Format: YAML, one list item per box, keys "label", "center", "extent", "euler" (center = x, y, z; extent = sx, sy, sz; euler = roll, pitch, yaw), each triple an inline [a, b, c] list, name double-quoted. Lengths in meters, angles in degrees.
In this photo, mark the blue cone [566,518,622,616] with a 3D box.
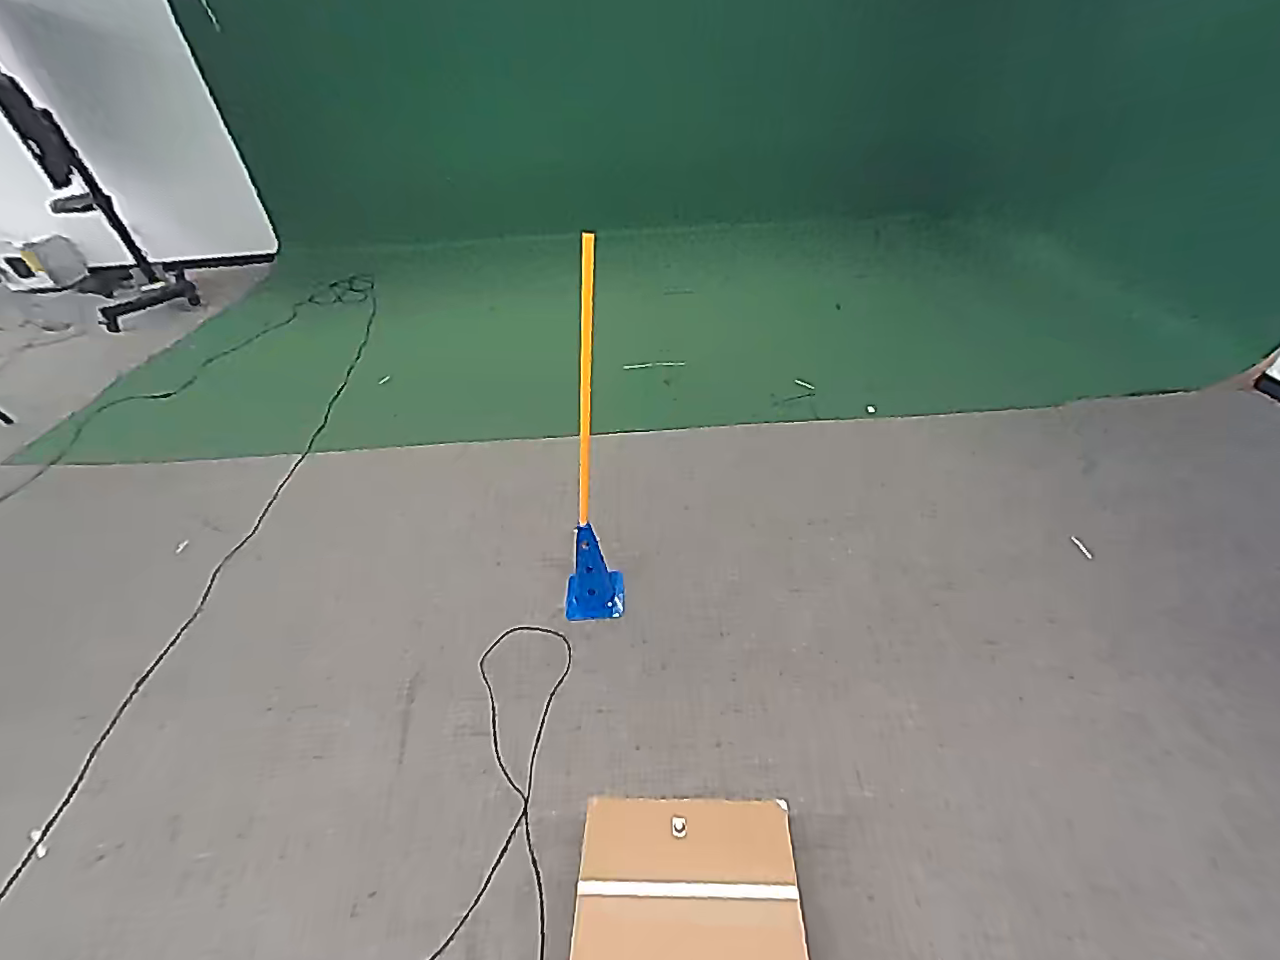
- label: "blue cone"
  center: [-0.165, 0.263, 1.771]
  extent: [0.193, 0.380, 0.192]
  euler: [-4, 40, -2]
